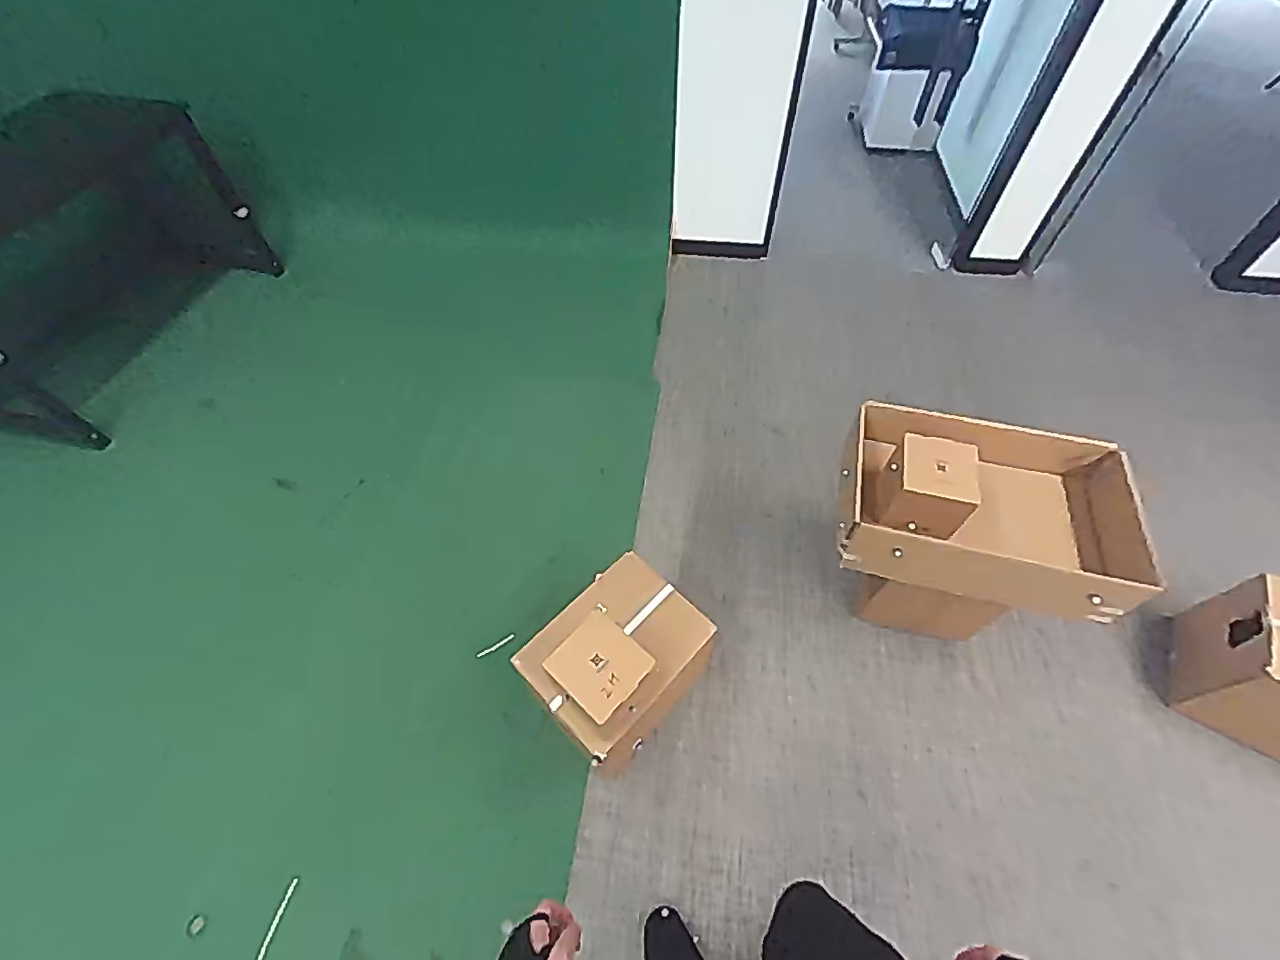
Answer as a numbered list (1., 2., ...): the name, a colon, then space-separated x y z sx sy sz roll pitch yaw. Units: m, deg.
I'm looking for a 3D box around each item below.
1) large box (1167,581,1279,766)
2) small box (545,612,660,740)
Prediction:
1. large box: 1.684 0.530 1.365 0.408 0.320 0.320 26 58 19
2. small box: -0.078 0.422 1.152 0.179 0.176 0.168 37 62 23
